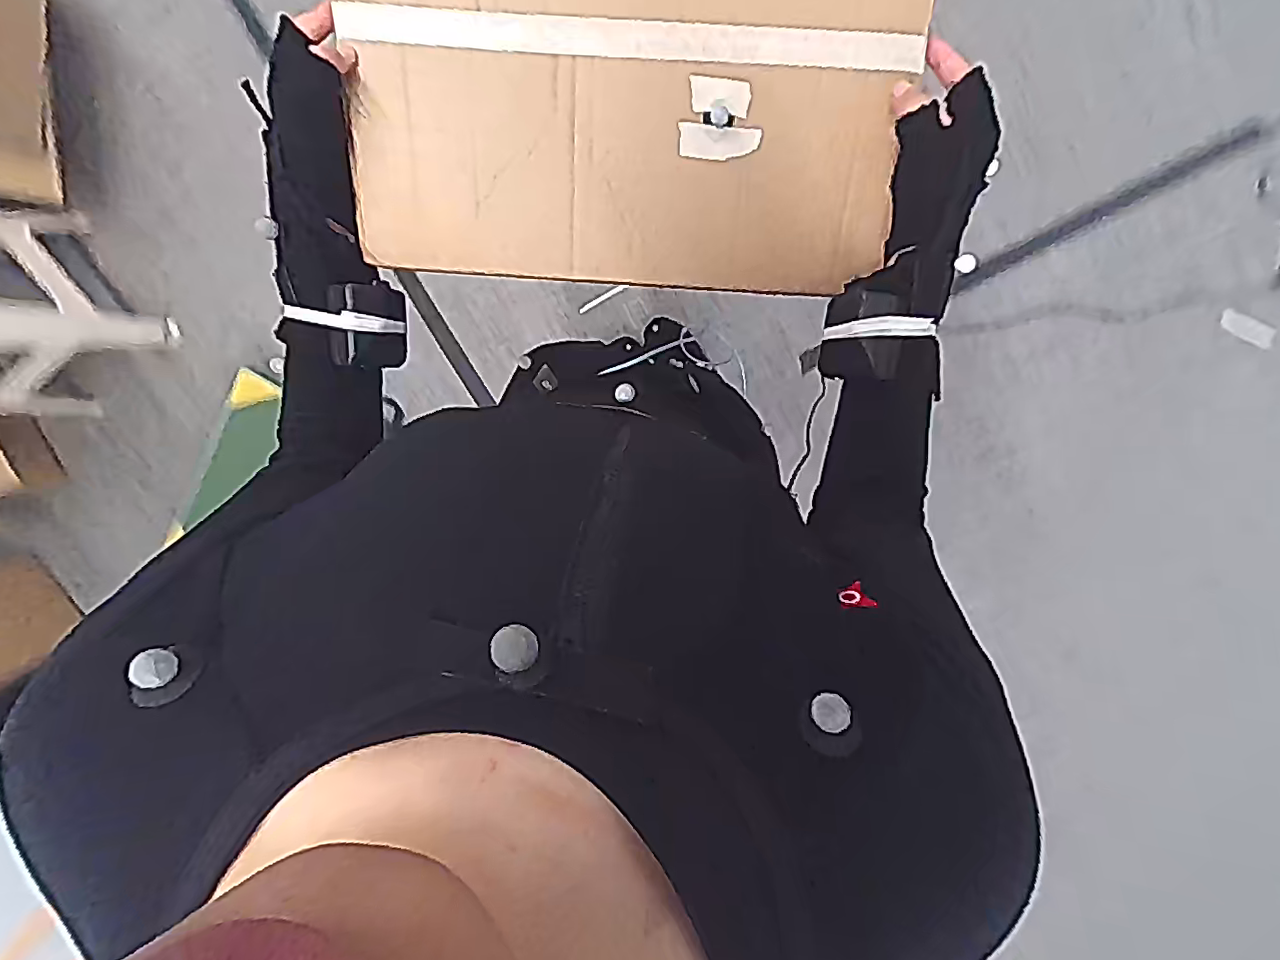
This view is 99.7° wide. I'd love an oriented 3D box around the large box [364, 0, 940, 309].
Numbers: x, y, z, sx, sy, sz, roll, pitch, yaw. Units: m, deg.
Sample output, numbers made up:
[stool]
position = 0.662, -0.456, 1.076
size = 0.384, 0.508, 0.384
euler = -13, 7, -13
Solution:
[large box]
position = 0.004, -0.348, 0.524
size = 0.408, 0.320, 0.320
euler = 5, 111, -1
